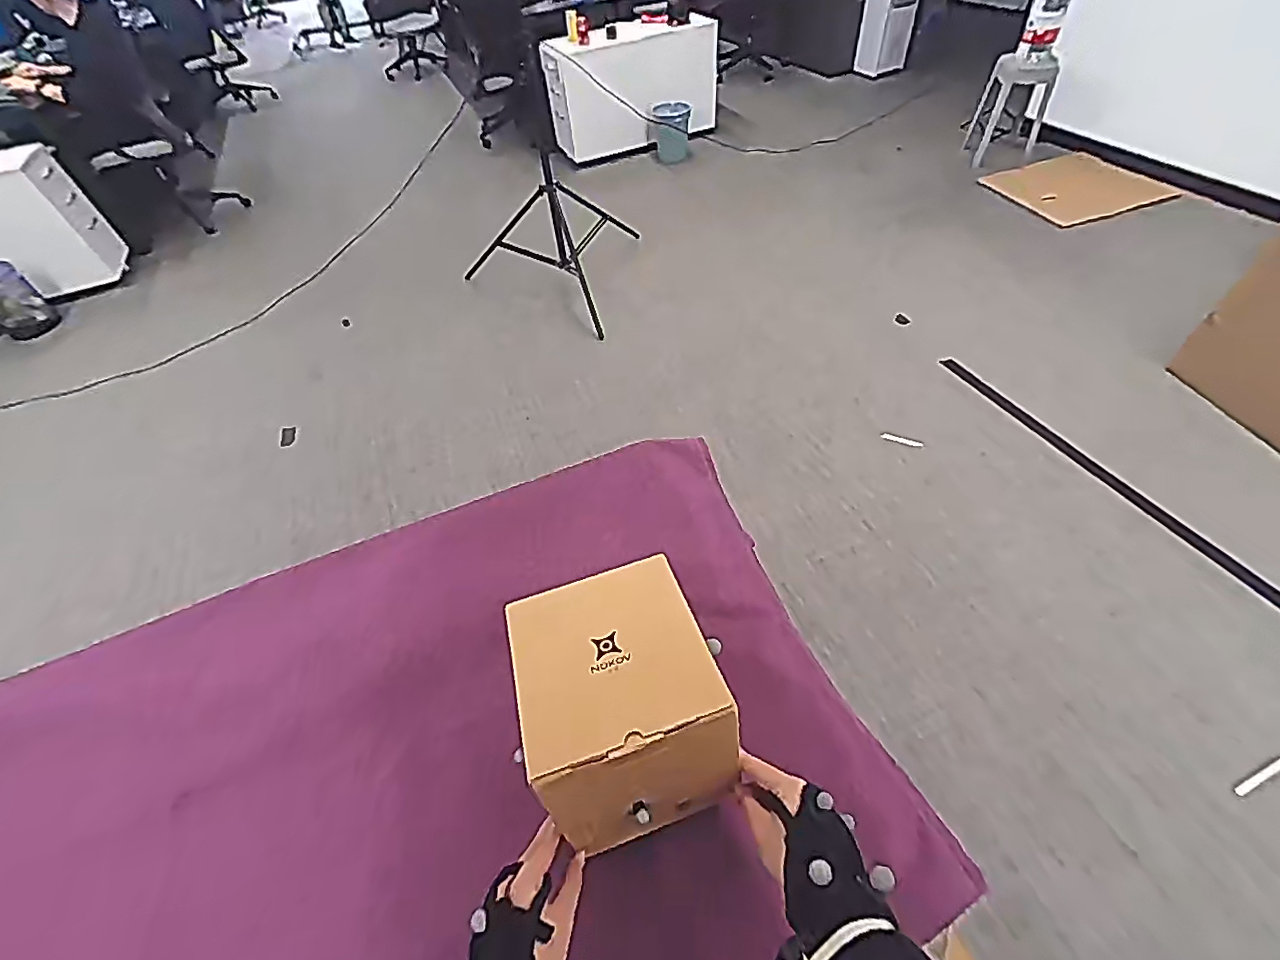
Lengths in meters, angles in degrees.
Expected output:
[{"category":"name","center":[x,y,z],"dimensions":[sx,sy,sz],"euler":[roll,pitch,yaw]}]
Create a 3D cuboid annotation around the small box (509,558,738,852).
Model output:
[{"category":"small box","center":[-0.016,0.211,0.519],"dimensions":[0.168,0.176,0.179],"euler":[-18,40,-8]}]
